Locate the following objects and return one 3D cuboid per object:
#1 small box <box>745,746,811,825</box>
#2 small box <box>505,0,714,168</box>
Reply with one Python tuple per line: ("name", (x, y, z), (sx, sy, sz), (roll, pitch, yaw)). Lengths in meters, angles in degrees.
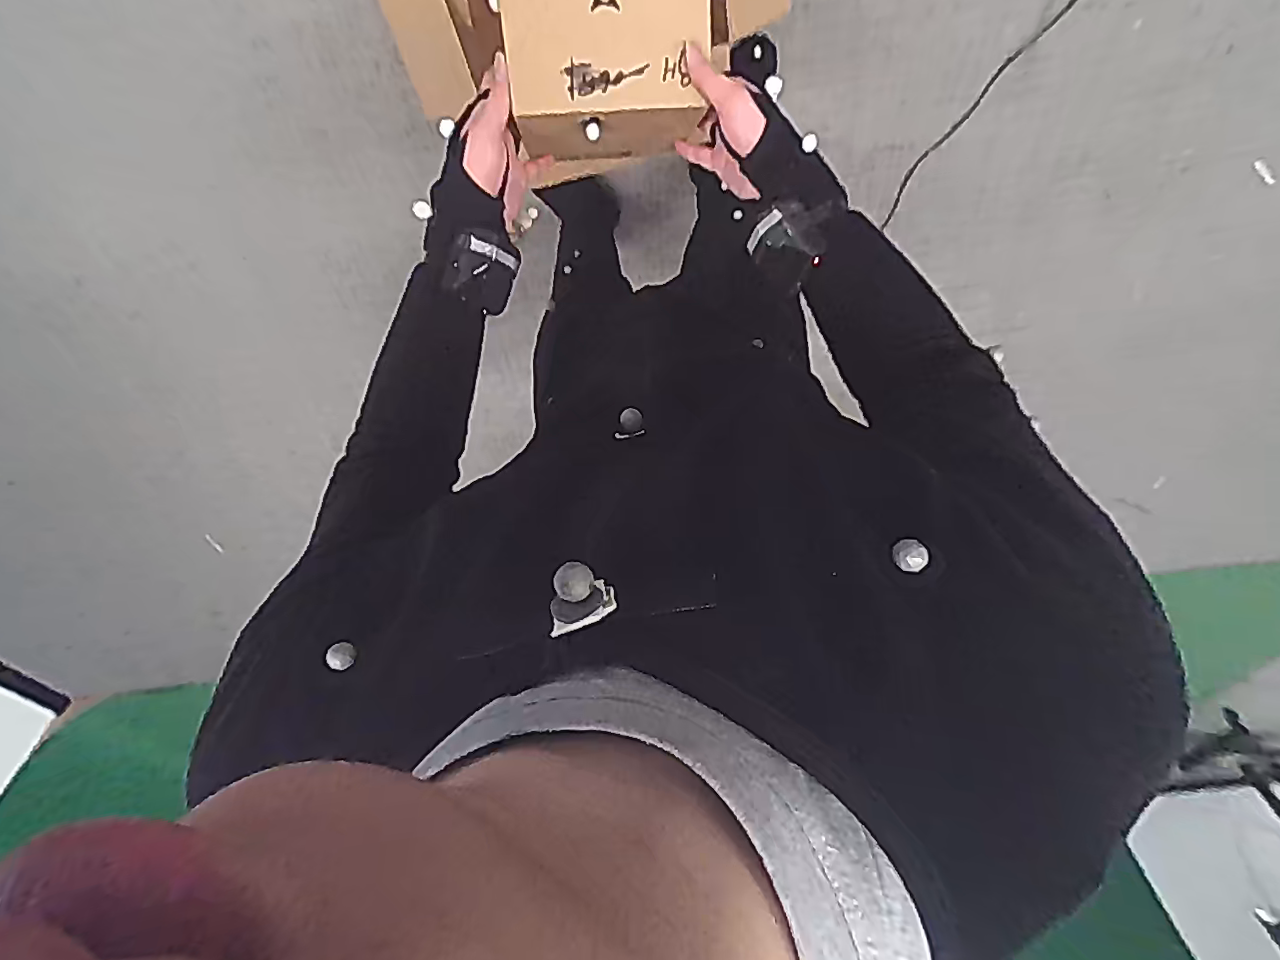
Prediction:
("small box", (0.429, 0.962, 1.704), (0.168, 0.176, 0.179), (-10, 132, 4))
("small box", (-0.033, -0.408, 0.495), (0.168, 0.176, 0.179), (-6, 108, -4))
